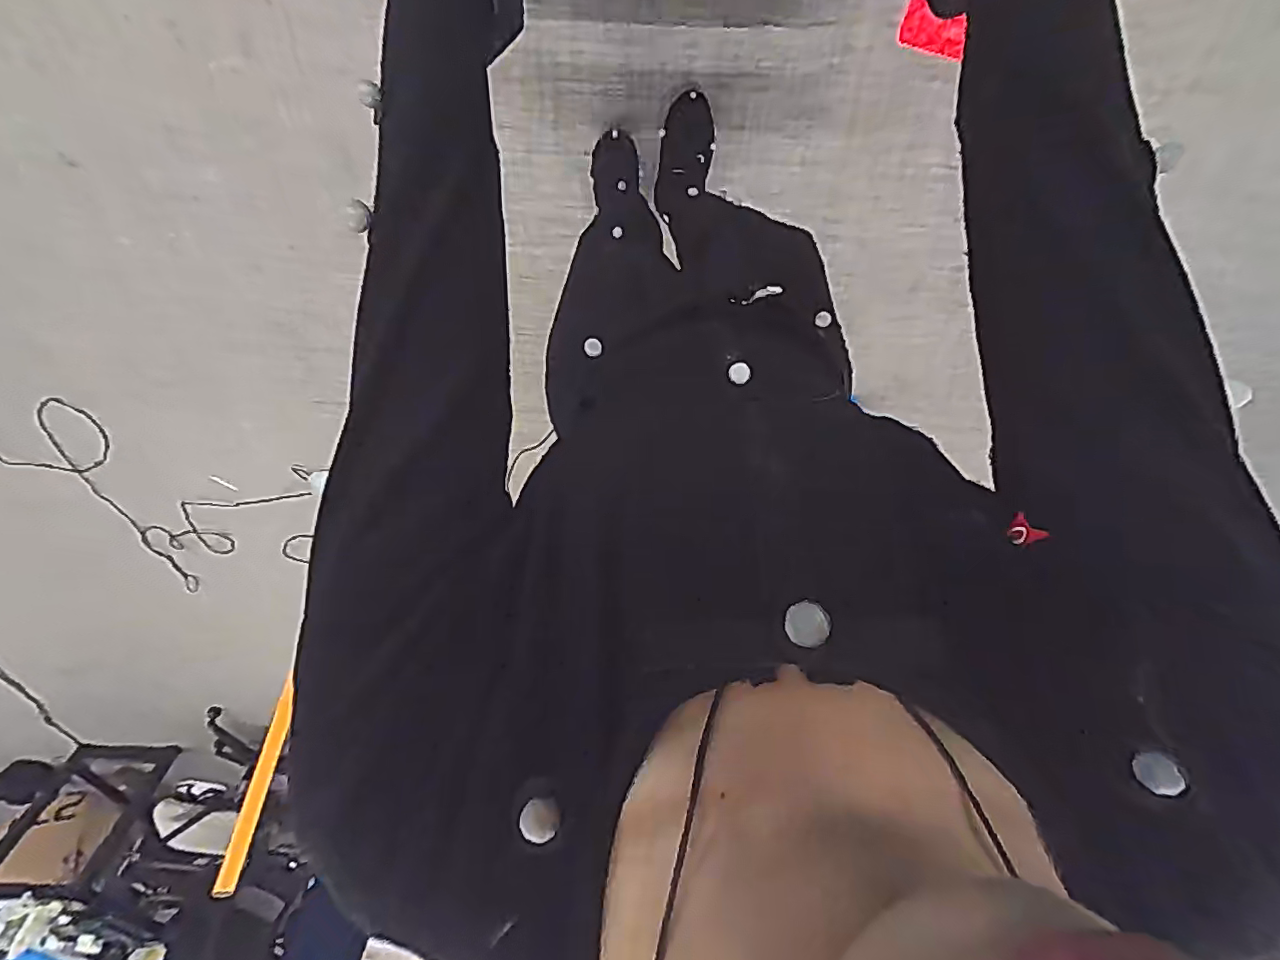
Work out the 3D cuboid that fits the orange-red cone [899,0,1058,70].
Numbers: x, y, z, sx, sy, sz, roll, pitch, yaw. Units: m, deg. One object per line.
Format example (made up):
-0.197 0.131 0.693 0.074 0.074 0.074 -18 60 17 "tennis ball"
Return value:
0.615 -0.809 0.888 0.198 0.360 0.199 11 129 -7 "orange-red cone"
